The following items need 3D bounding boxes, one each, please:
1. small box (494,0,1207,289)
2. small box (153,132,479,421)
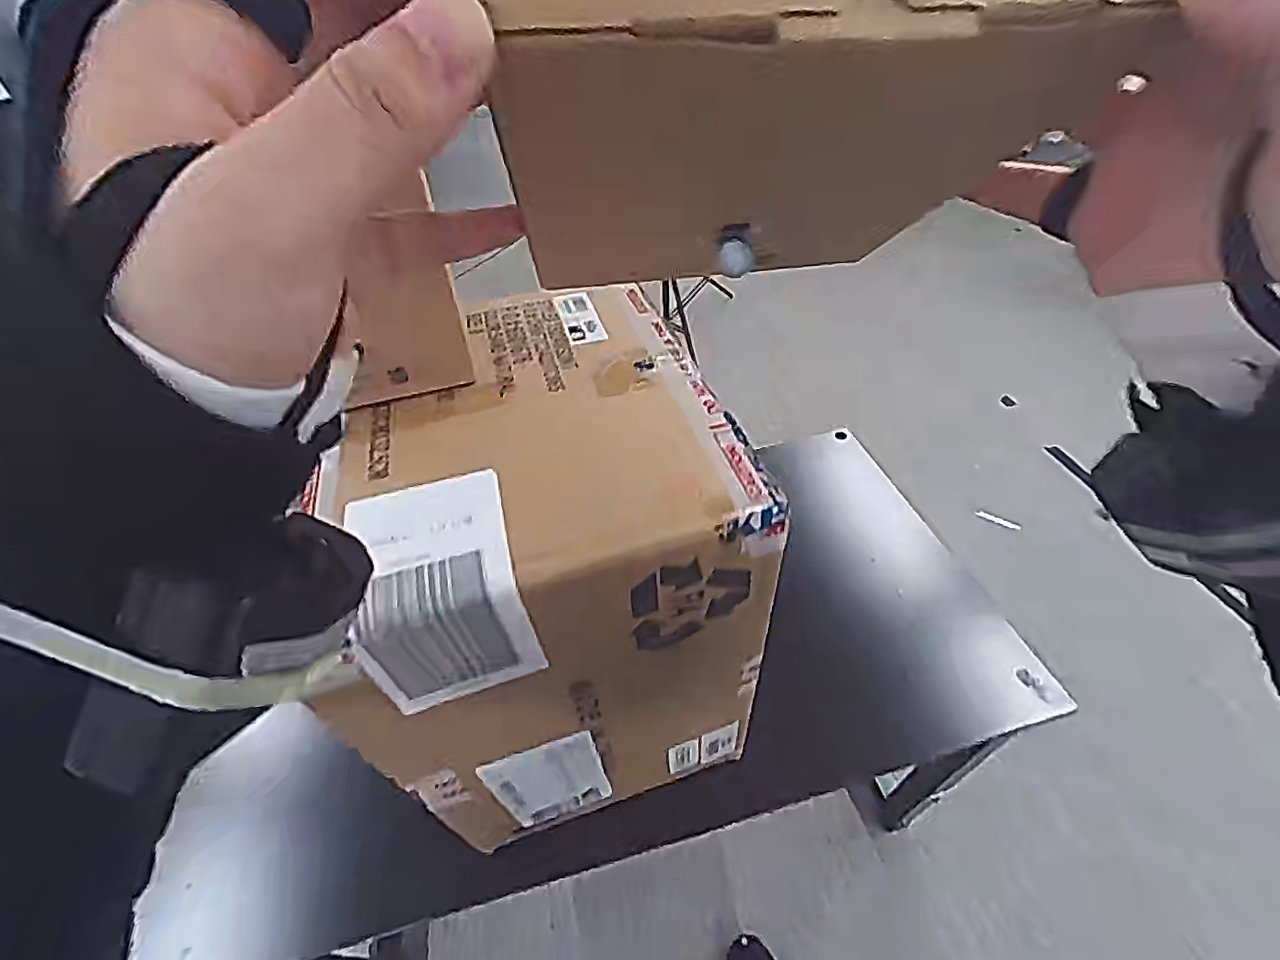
[{"bbox_3d":[0.033,-0.186,0.191,0.168,0.179,0.176,-7,3,-5],"label":"small box"},{"bbox_3d":[-0.244,-0.175,0.457,0.168,0.176,0.179,-15,45,-13],"label":"small box"}]
